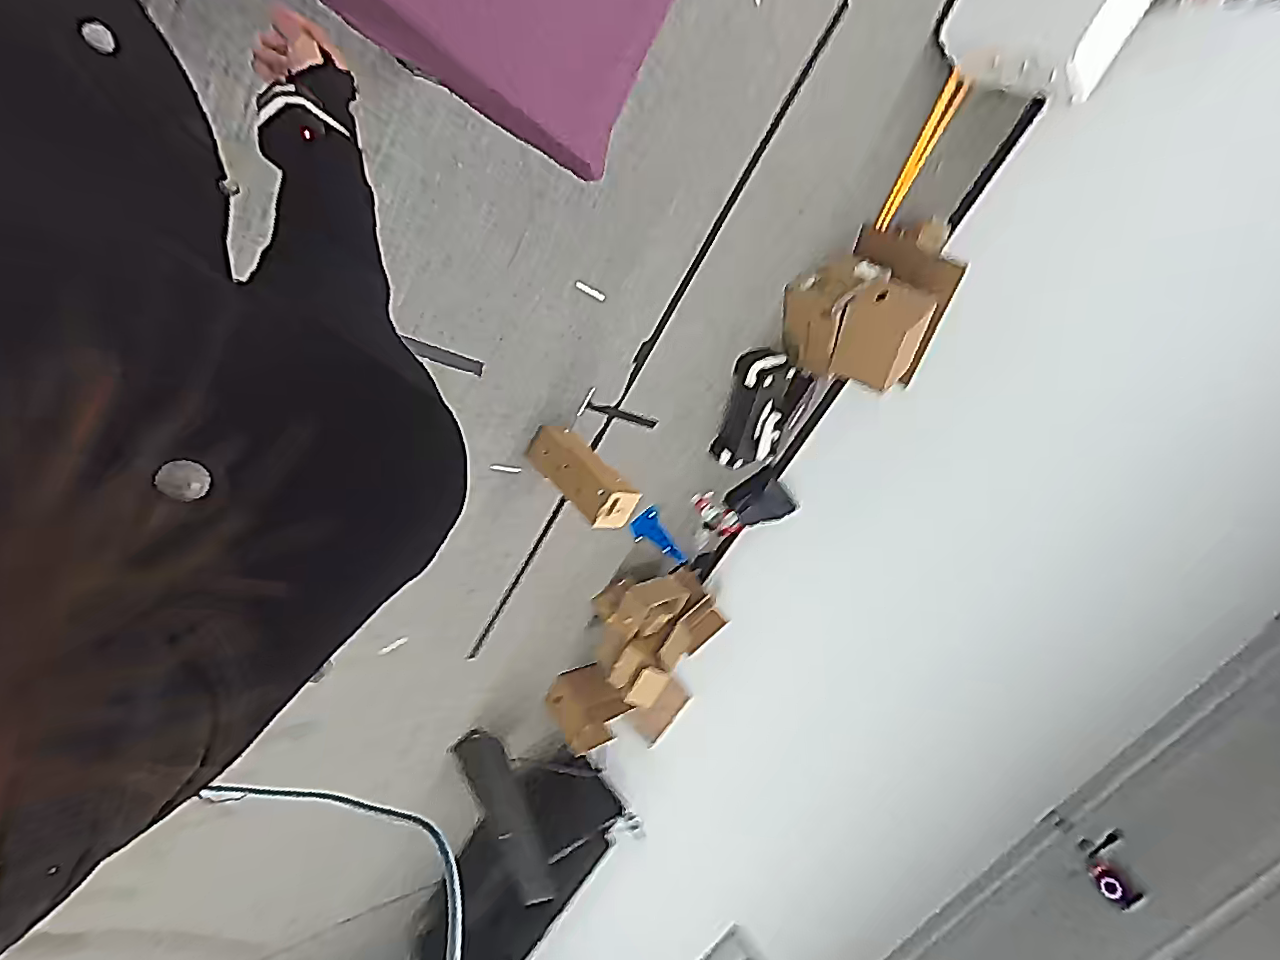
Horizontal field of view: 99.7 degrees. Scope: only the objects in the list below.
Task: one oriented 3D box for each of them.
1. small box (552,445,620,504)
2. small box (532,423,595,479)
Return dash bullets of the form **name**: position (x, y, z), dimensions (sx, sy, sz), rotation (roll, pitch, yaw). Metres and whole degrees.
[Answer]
- **small box**: position (-0.222, -0.023, 2.209), dimensions (0.179, 0.176, 0.168), rotation (14, 115, -53)
- **small box**: position (-0.331, -0.115, 2.288), dimensions (0.168, 0.176, 0.179), rotation (7, 120, -52)
